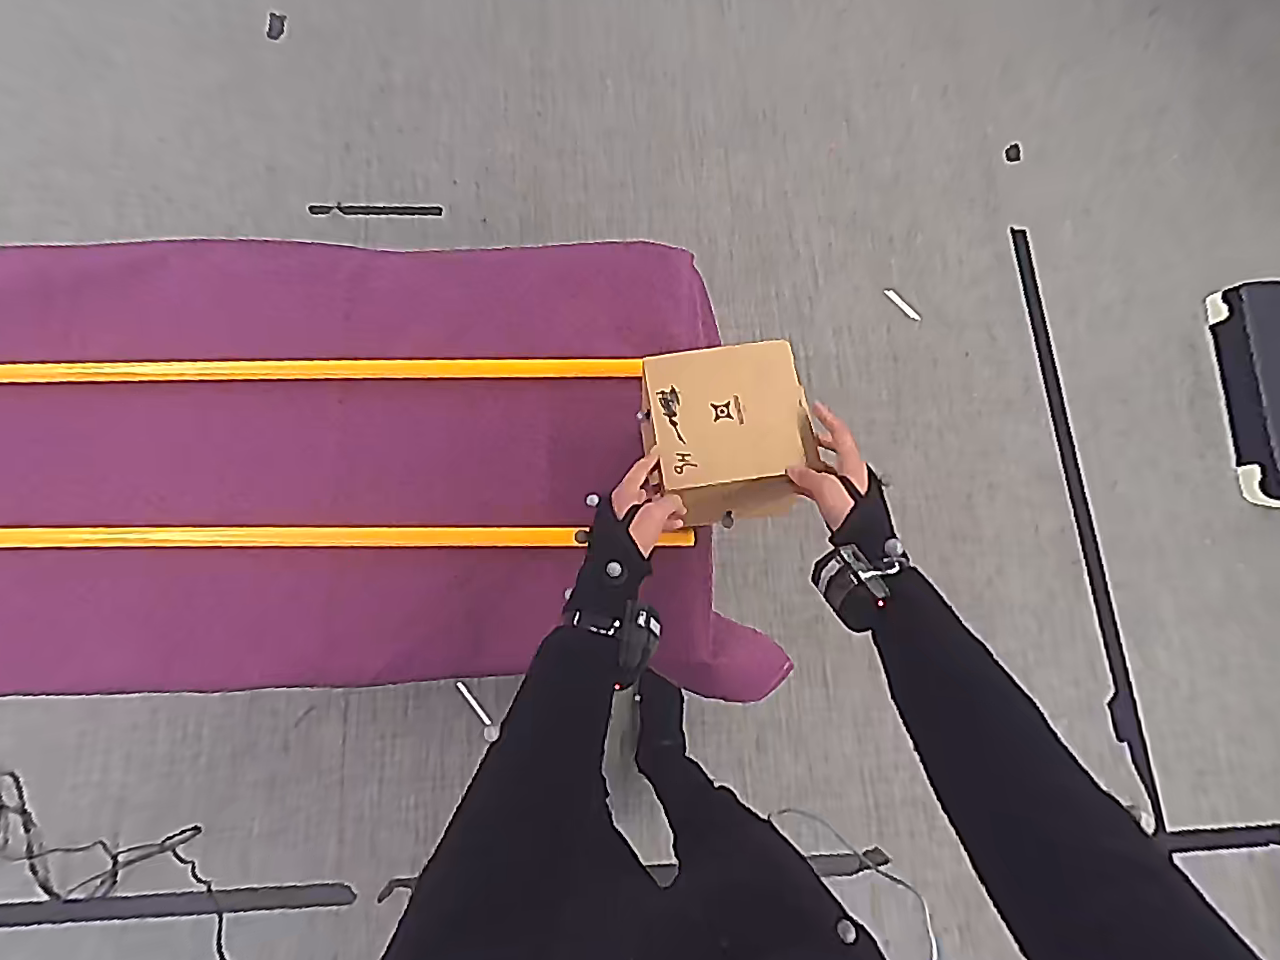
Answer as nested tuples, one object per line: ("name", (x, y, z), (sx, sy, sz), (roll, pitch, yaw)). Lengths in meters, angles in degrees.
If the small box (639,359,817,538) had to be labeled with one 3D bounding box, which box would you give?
("small box", (0.095, -0.031, 0.680), (0.179, 0.176, 0.168), (-7, 71, -3))
